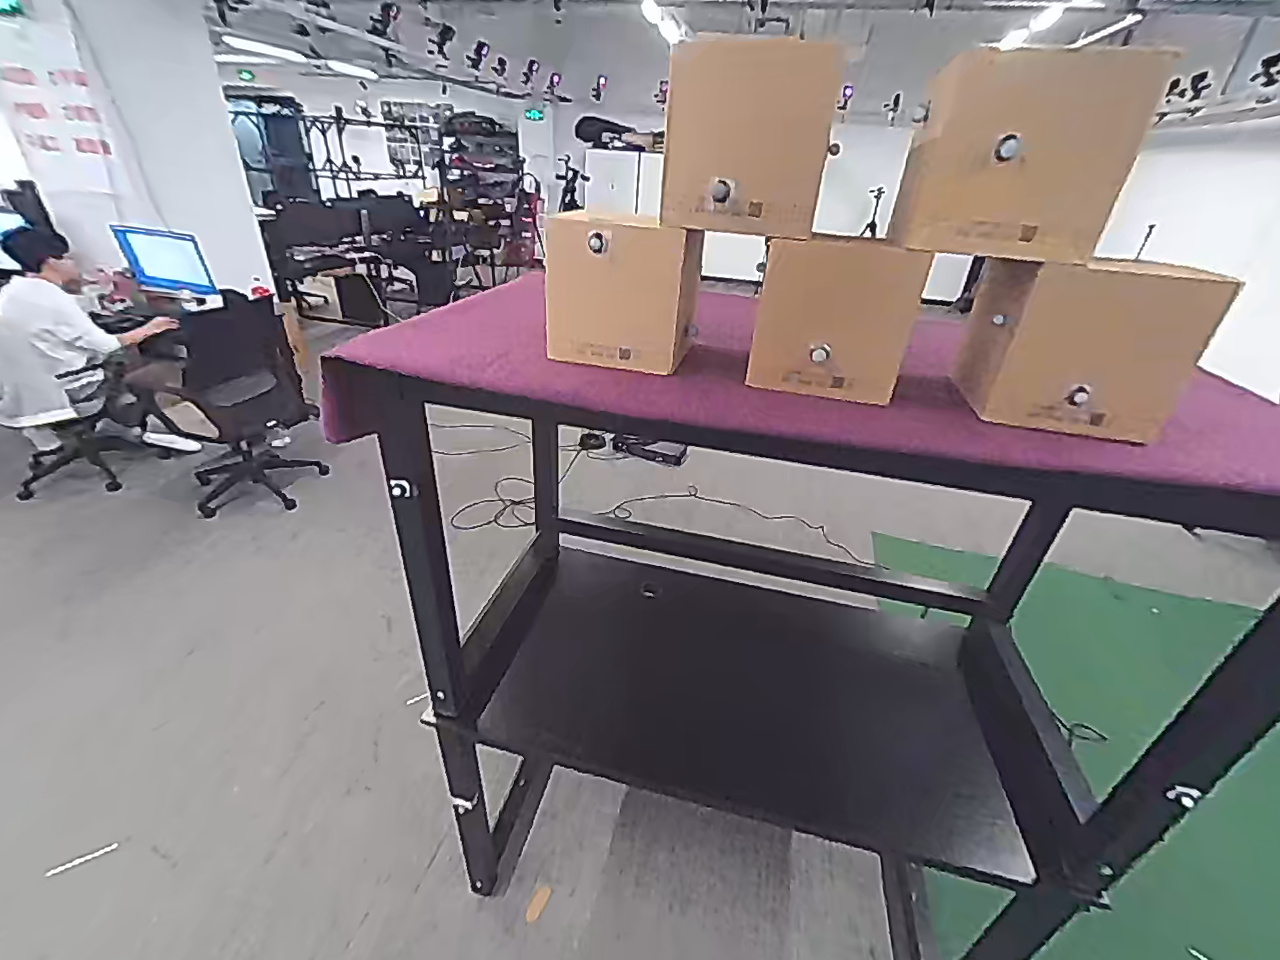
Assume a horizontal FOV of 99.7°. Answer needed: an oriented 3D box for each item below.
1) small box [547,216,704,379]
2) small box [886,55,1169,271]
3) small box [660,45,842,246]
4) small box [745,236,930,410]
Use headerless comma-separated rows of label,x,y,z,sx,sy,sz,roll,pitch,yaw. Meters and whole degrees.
small box,-0.017,-0.245,0.710,0.168,0.176,0.179,9,28,10
small box,0.371,-0.319,0.563,0.168,0.176,0.179,10,28,12
small box,0.123,-0.367,0.614,0.168,0.176,0.179,10,29,12
small box,0.229,-0.202,0.667,0.168,0.176,0.179,10,30,11
